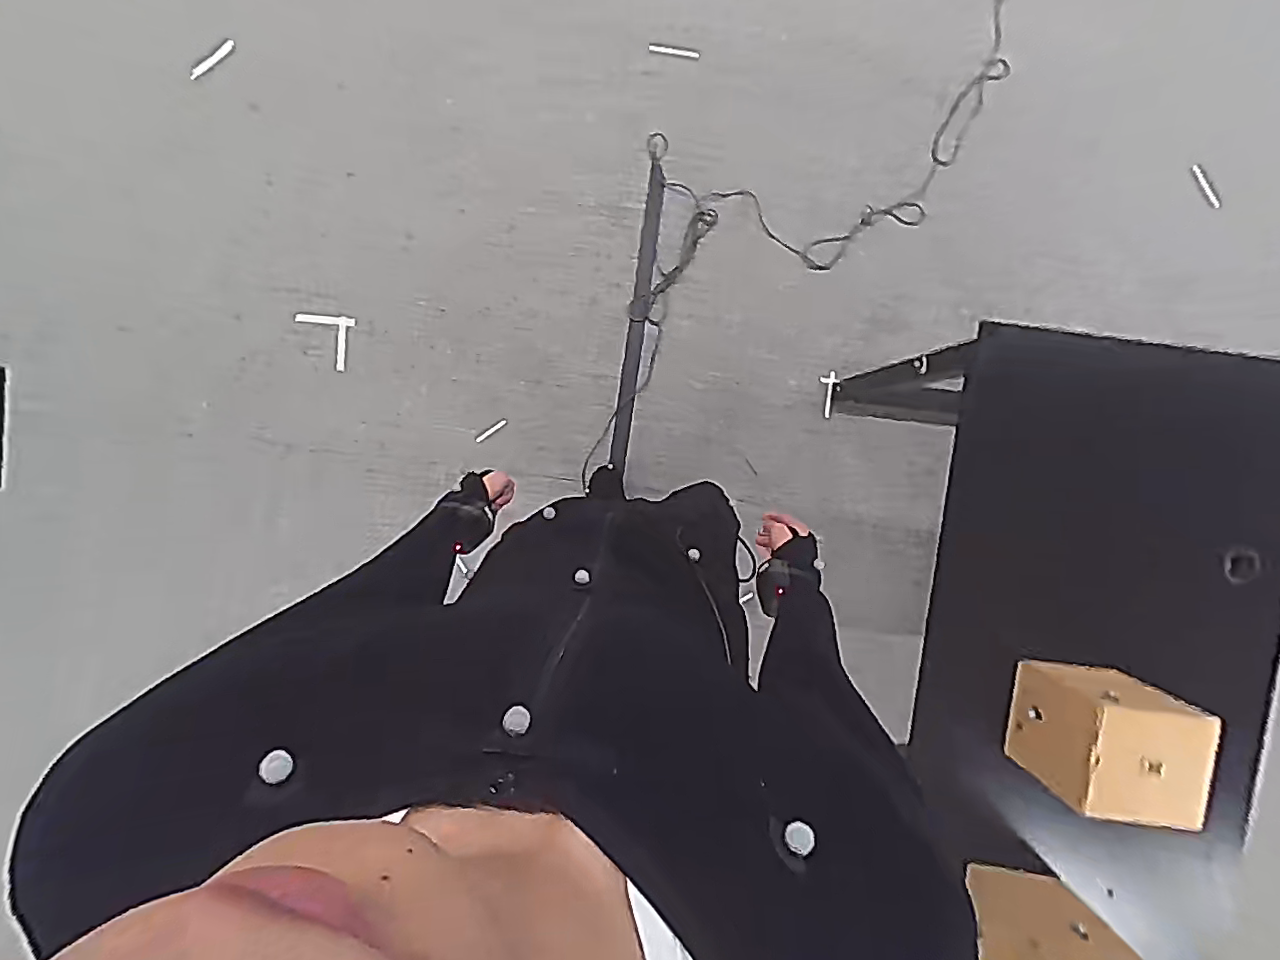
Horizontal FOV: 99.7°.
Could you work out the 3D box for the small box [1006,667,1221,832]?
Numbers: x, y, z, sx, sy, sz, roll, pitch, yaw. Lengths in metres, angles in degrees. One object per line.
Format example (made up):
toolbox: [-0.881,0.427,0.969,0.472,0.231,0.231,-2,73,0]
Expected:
small box: [0.726,0.410,0.848,0.179,0.176,0.168,7,94,-1]

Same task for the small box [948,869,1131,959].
small box: [0.641,0.772,0.868,0.179,0.176,0.168,12,92,-2]
